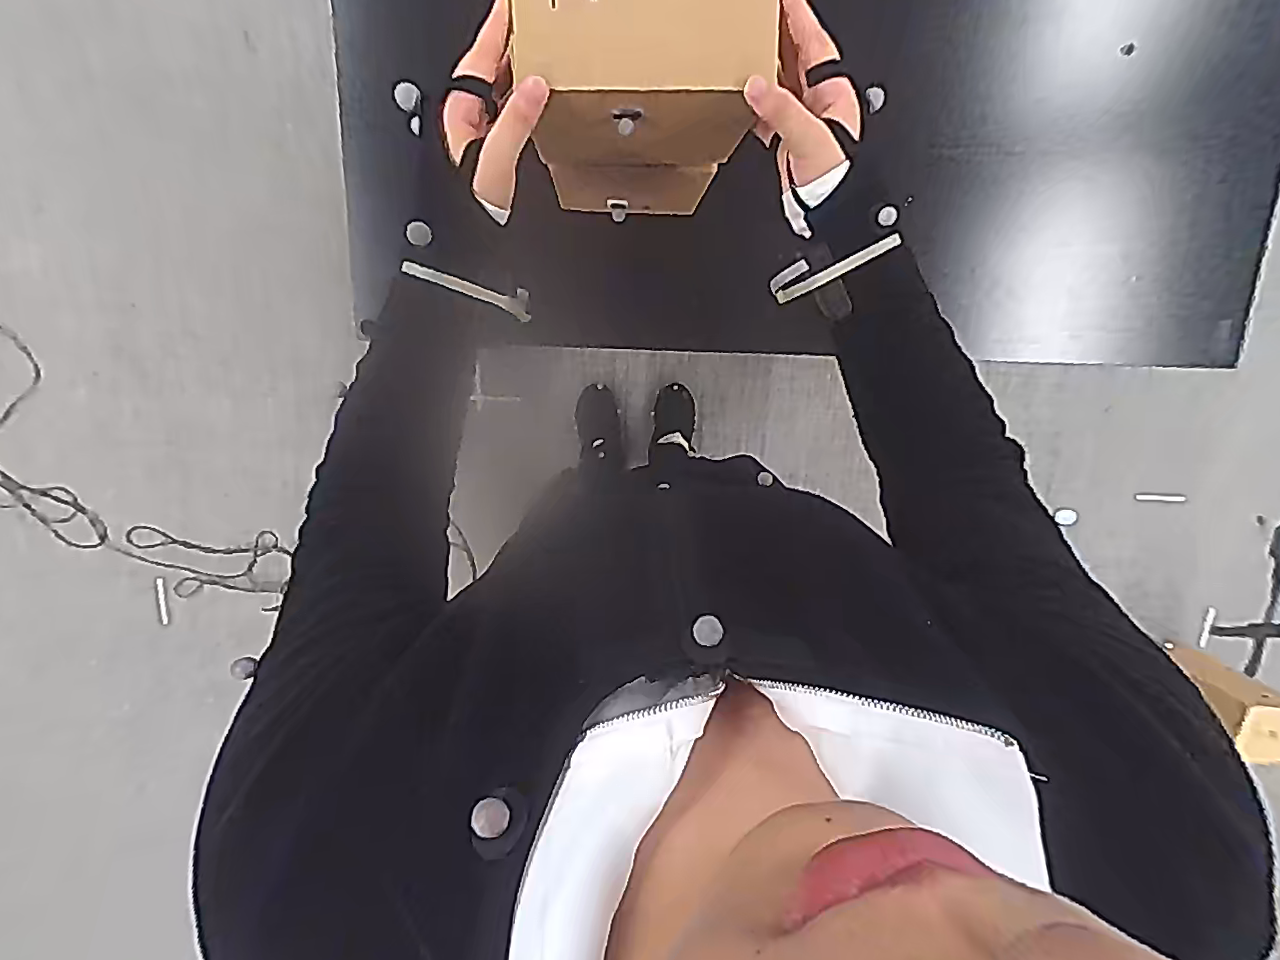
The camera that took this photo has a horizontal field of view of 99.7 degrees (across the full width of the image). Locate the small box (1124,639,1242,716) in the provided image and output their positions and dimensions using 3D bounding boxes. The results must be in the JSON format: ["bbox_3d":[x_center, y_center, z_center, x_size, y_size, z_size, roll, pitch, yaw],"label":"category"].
[{"bbox_3d":[1.636,0.598,1.642,0.179,0.176,0.168,2,103,-2],"label":"small box"}]

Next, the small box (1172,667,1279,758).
[{"bbox_3d":[1.637,0.631,1.479,0.179,0.176,0.168,3,102,-3],"label":"small box"}]

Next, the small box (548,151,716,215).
[{"bbox_3d":[-0.011,-0.404,0.584,0.168,0.176,0.179,-1,103,-2],"label":"small box"}]

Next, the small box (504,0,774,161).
[{"bbox_3d":[-0.005,-0.359,0.414,0.179,0.176,0.168,-3,106,-3],"label":"small box"}]
